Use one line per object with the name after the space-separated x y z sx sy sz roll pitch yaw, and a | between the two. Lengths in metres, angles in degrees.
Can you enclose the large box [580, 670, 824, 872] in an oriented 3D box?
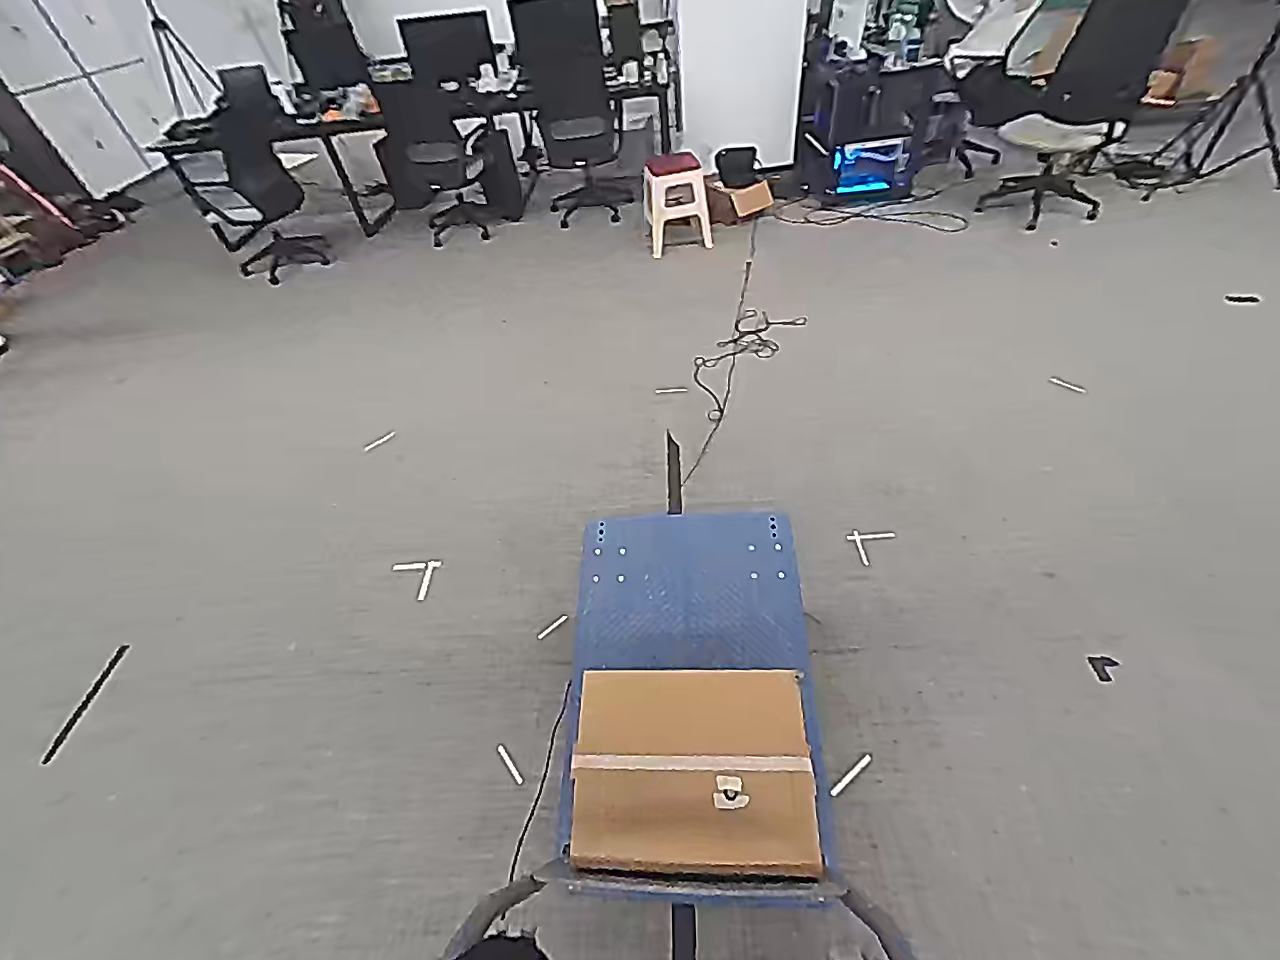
0.110 0.578 1.075 0.408 0.320 0.320 -3 58 5 | large box
